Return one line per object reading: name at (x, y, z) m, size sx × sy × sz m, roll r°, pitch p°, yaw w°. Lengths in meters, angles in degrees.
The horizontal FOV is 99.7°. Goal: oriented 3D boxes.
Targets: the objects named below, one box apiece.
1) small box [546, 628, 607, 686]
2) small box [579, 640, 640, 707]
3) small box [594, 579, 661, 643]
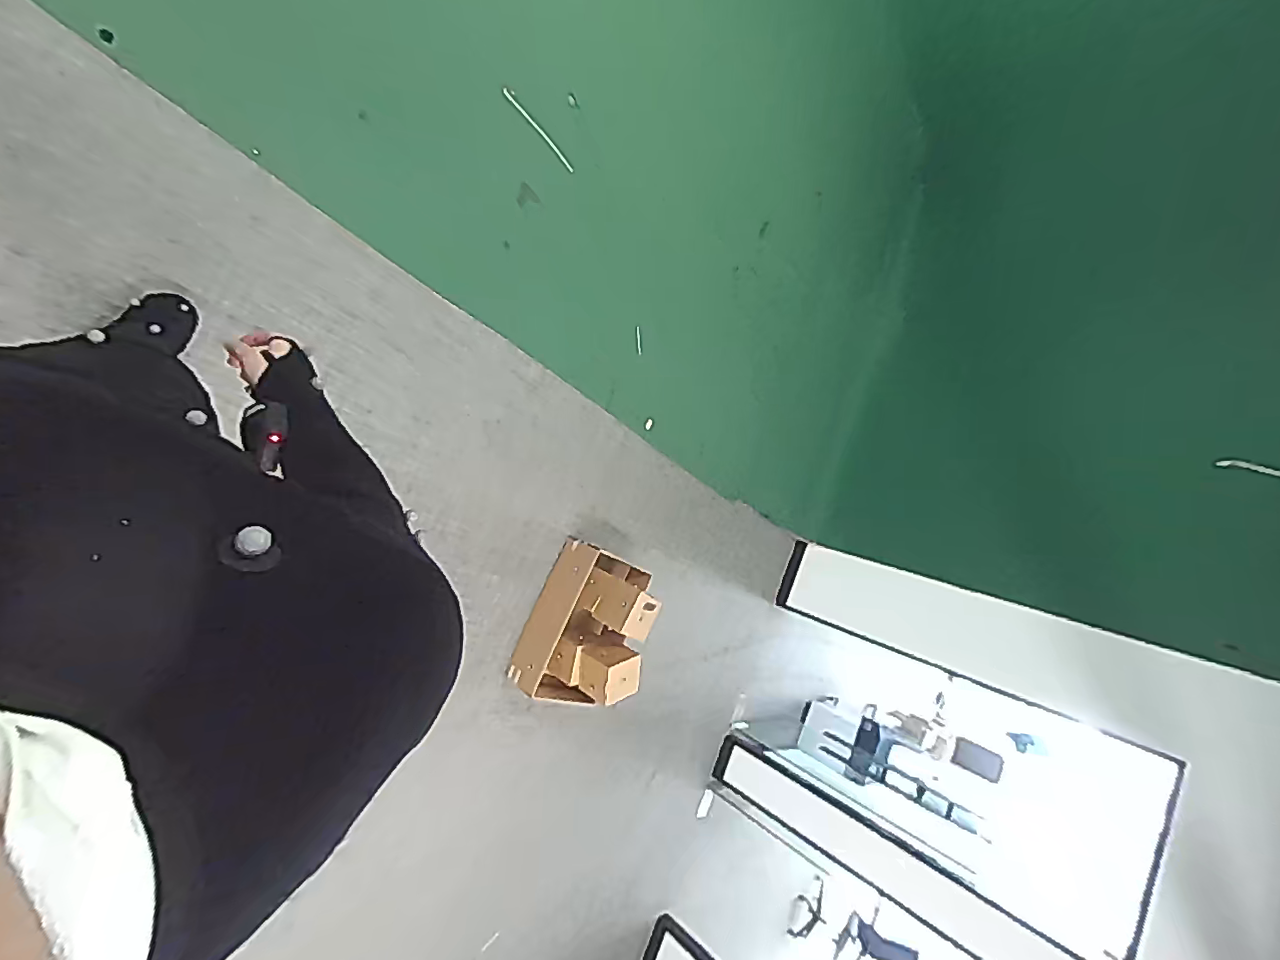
small box at (-0.261, 0.720, 2.216) m, size 0.179 × 0.176 × 0.168 m, roll 9°, pitch 94°, yaw -48°
small box at (-0.123, 0.756, 2.130) m, size 0.179 × 0.176 × 0.168 m, roll -6°, pitch 106°, yaw -46°
small box at (-0.053, 0.512, 2.132) m, size 0.168 × 0.176 × 0.179 m, roll 39°, pitch 74°, yaw -46°
